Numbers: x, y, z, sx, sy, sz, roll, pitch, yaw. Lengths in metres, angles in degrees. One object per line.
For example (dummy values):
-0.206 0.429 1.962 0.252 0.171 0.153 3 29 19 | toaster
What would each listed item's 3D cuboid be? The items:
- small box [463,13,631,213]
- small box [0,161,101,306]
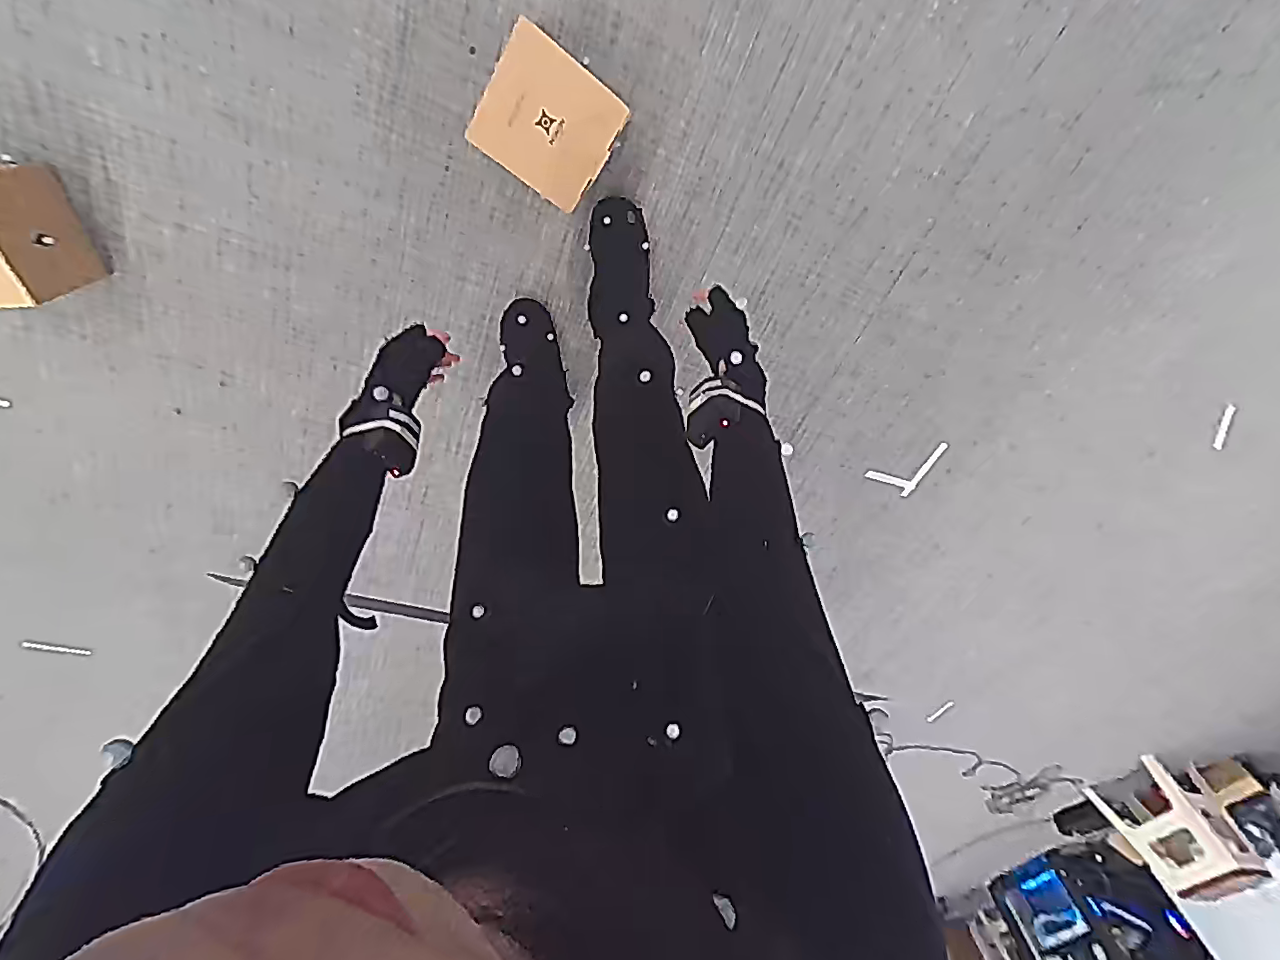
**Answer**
-0.134 -0.536 0.802 0.179 0.176 0.168 28 117 -23 | small box
-0.992 -0.372 0.809 0.168 0.176 0.179 -3 127 -5 | small box
